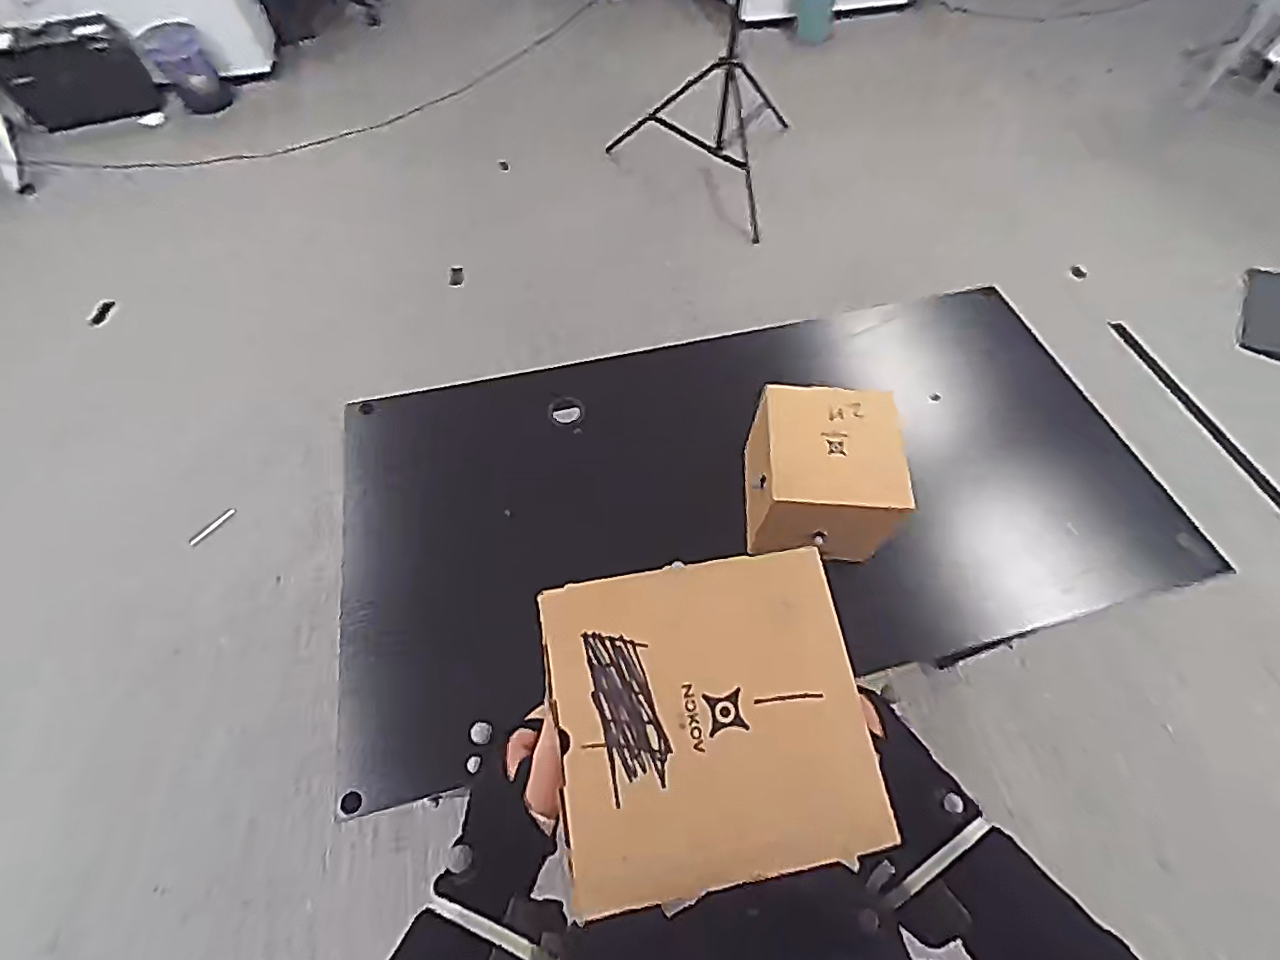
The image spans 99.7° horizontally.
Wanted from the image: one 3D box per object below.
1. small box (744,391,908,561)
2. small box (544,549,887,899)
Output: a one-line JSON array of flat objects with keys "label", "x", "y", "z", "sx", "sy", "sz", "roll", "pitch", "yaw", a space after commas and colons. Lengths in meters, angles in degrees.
[{"label": "small box", "x": 0.240, "y": 0.001, "z": 0.745, "sx": 0.168, "sy": 0.176, "sz": 0.179, "roll": 4, "pitch": 60, "yaw": 2}, {"label": "small box", "x": 0.036, "y": 0.158, "z": 0.390, "sx": 0.179, "sy": 0.176, "sz": 0.168, "roll": -9, "pitch": 72, "yaw": -6}]
